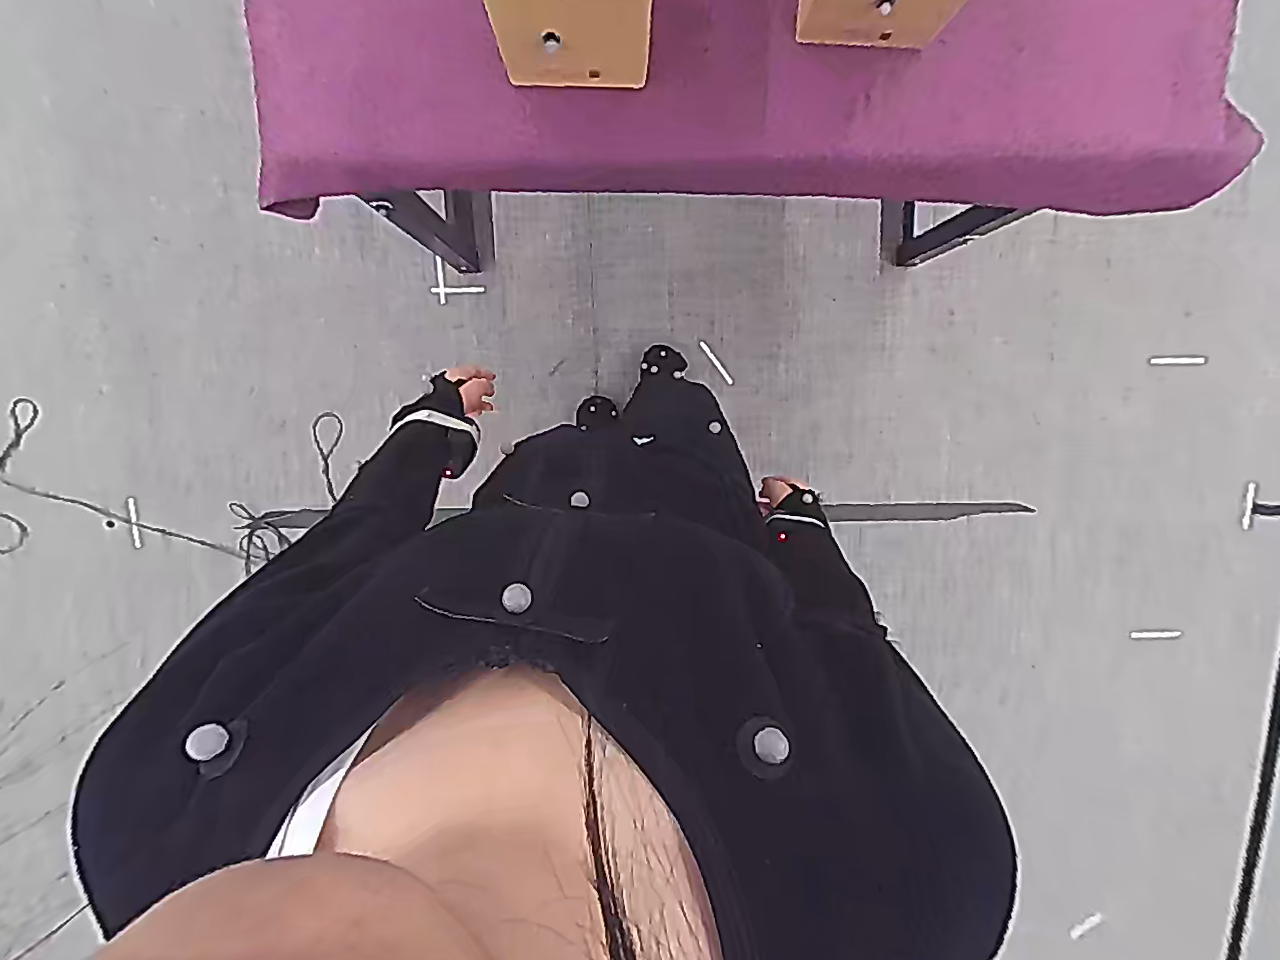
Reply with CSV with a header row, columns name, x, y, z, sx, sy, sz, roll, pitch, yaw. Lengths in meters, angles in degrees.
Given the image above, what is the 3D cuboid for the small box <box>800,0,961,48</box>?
name,x,y,z,sx,sy,sz,roll,pitch,yaw
small box,0.281,-0.610,0.581,0.168,0.176,0.179,2,98,-3

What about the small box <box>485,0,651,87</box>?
name,x,y,z,sx,sy,sz,roll,pitch,yaw
small box,-0.070,-0.557,0.577,0.168,0.176,0.179,0,98,-2
